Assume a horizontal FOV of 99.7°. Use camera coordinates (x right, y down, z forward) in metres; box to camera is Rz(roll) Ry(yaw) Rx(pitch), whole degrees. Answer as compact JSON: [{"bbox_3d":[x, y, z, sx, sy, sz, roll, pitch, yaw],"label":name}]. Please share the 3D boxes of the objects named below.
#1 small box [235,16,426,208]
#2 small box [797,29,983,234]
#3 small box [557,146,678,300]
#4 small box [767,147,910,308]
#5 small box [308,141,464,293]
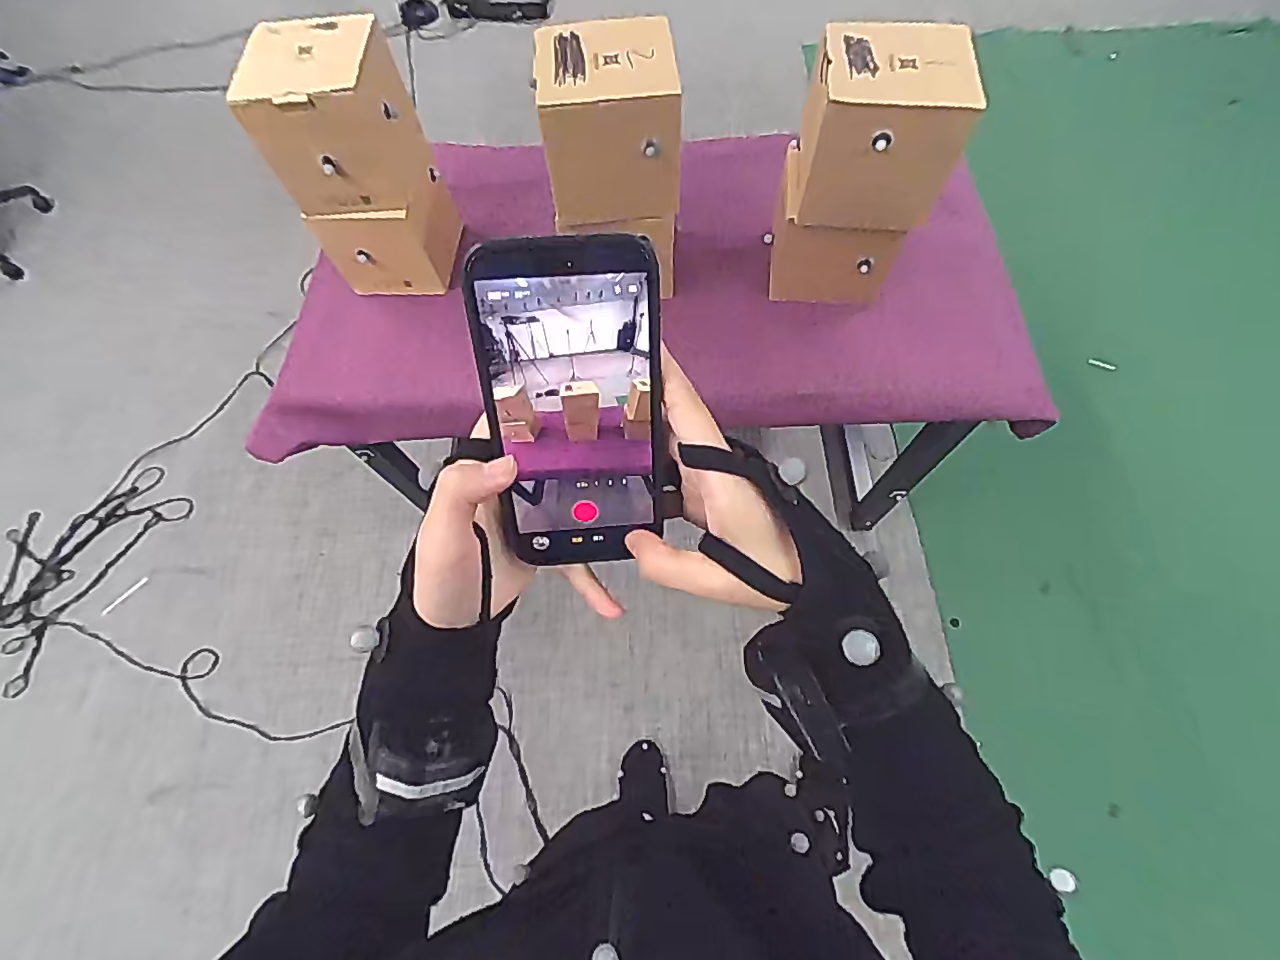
[{"bbox_3d":[-0.425,-0.516,0.778,0.168,0.176,0.179,-3,66,1],"label":"small box"},{"bbox_3d":[0.311,-0.451,0.713,0.179,0.176,0.168,6,66,5],"label":"small box"},{"bbox_3d":[-0.029,-0.416,0.892,0.179,0.176,0.168,1,66,4],"label":"small box"},{"bbox_3d":[0.311,-0.397,0.868,0.179,0.176,0.168,7,66,7],"label":"small box"},{"bbox_3d":[-0.418,-0.441,0.925,0.168,0.176,0.179,1,66,4],"label":"small box"}]
